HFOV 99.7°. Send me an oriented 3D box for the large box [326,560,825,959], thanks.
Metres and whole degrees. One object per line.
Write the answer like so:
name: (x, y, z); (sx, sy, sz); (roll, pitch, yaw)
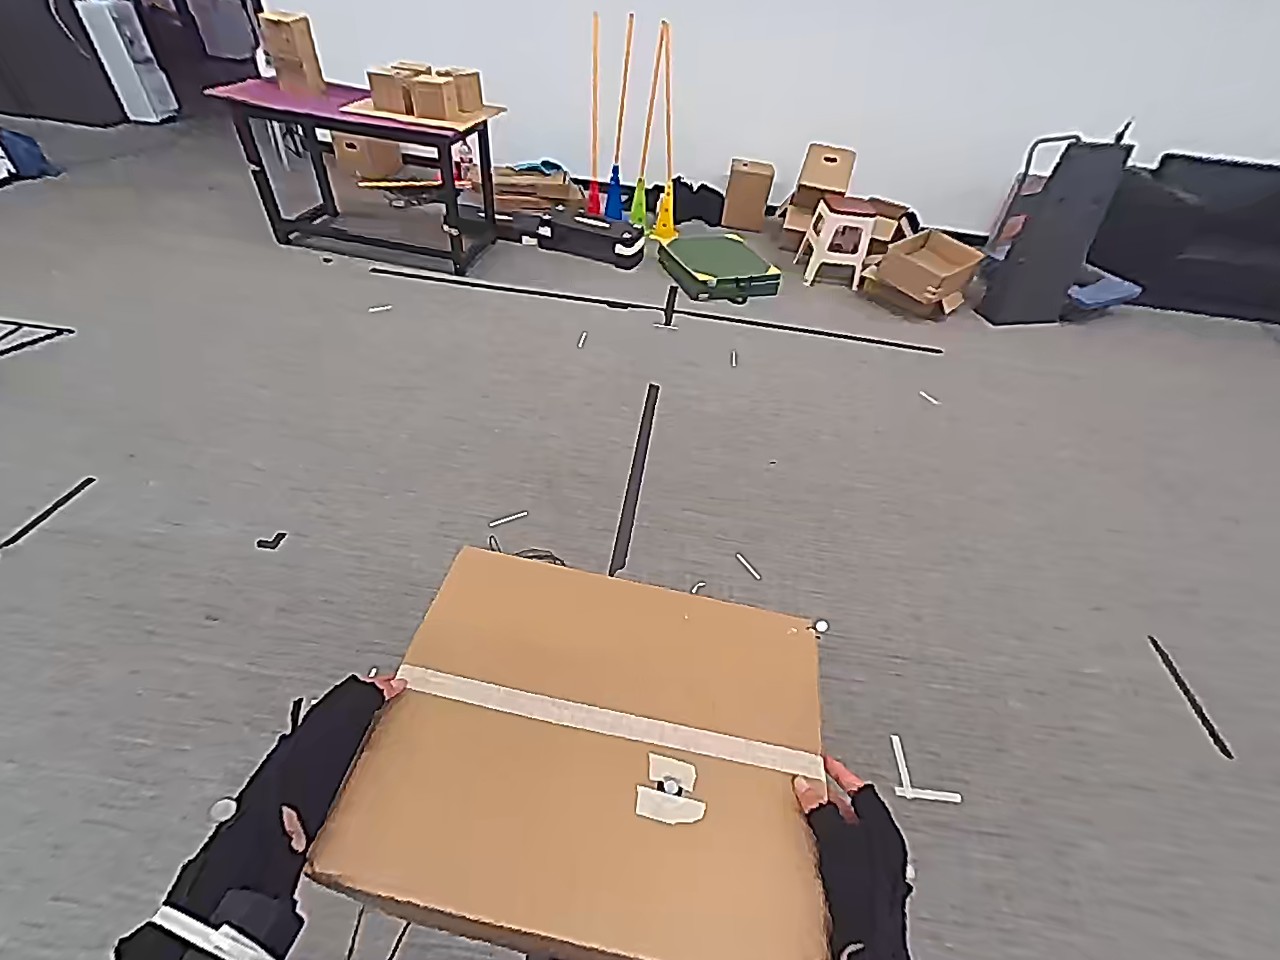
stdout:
large box: (-0.047, 0.337, 0.623); (0.408, 0.320, 0.320); (12, 47, 3)
